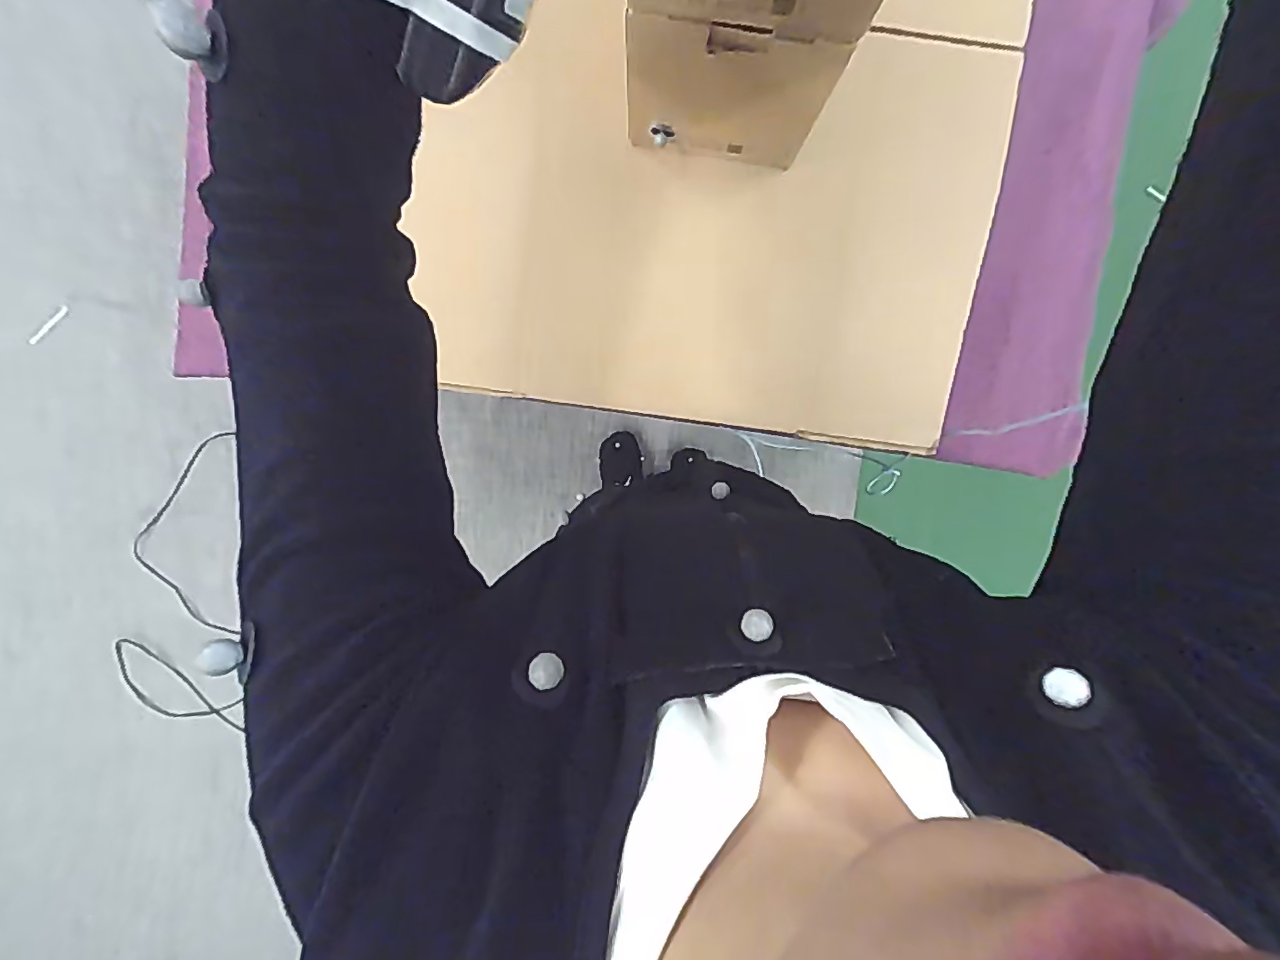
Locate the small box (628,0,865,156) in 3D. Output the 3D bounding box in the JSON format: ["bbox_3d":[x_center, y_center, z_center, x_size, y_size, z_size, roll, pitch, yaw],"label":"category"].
[{"bbox_3d":[0.081,-0.401,0.448,0.168,0.176,0.179,5,95,-1],"label":"small box"}]
